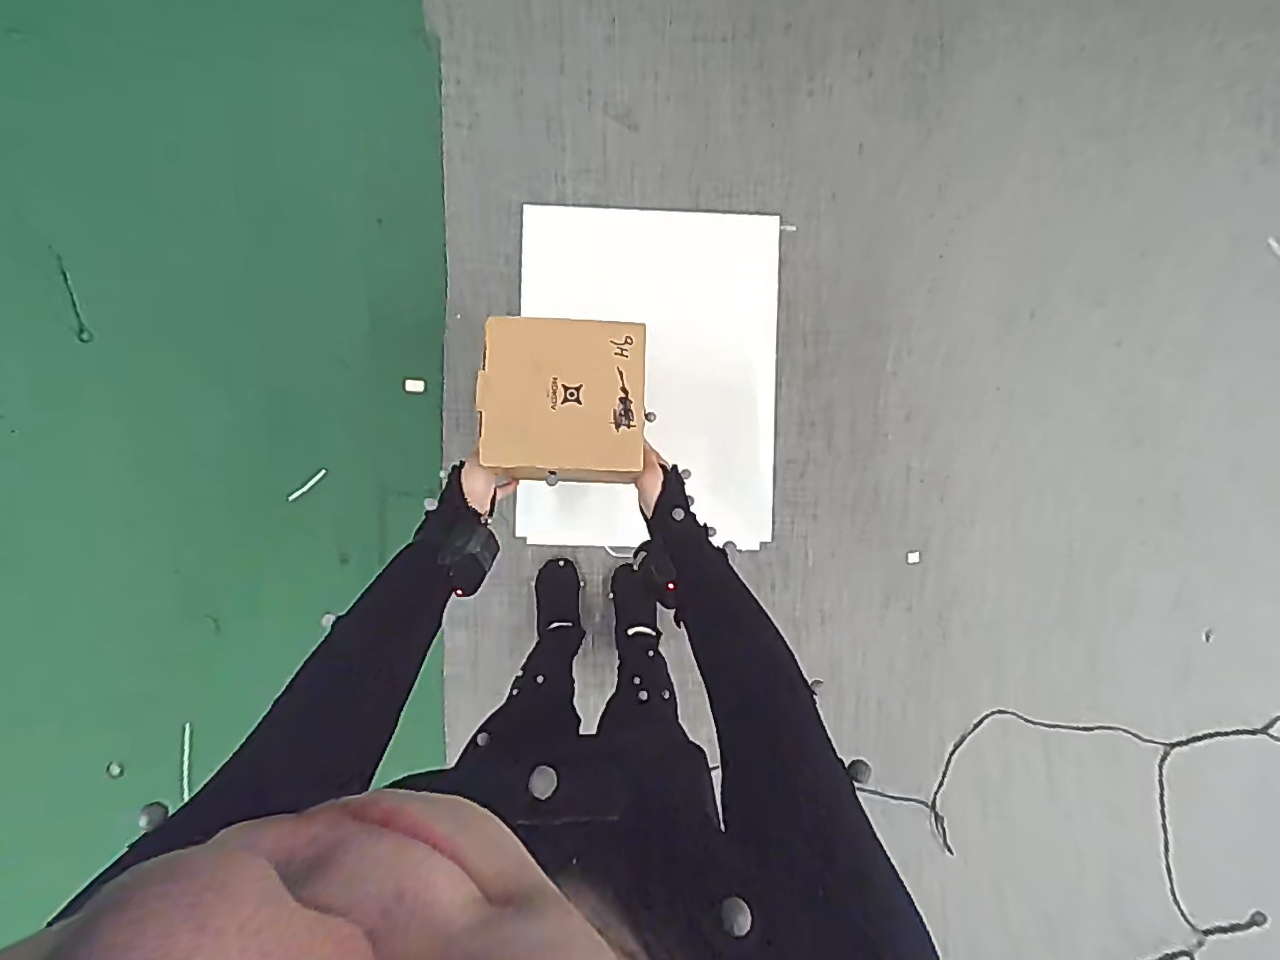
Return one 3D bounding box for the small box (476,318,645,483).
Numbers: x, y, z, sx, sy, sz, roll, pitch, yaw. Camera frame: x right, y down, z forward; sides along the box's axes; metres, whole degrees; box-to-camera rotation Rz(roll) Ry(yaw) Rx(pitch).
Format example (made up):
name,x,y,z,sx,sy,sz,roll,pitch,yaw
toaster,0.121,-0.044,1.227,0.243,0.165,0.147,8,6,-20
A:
name,x,y,z,sx,sy,sz,roll,pitch,yaw
small box,-0.085,-0.084,0.656,0.179,0.176,0.168,2,86,-1
